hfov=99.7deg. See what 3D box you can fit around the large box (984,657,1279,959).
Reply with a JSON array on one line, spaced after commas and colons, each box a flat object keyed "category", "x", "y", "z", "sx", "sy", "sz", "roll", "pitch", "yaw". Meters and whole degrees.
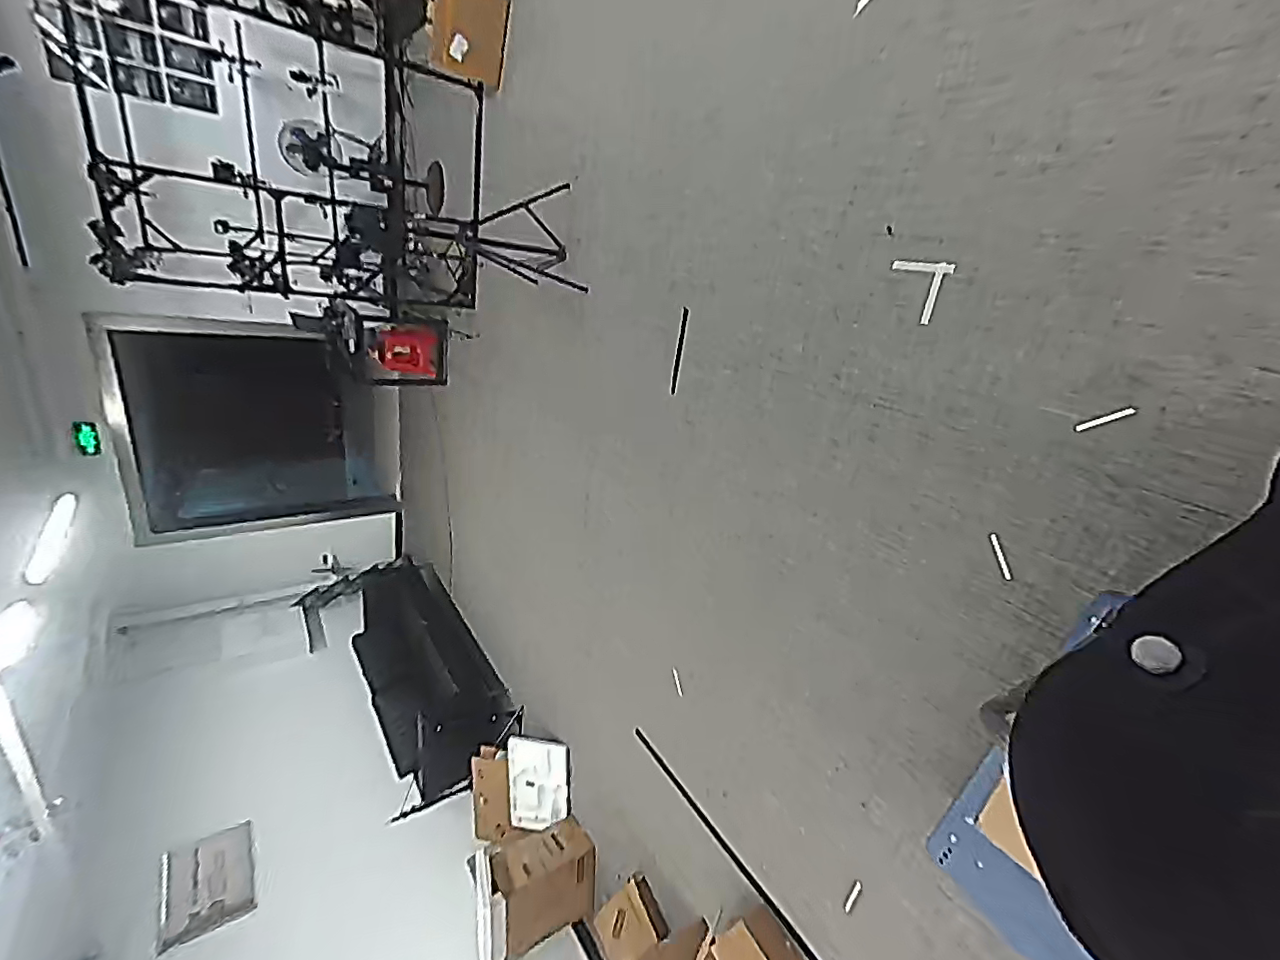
[{"category": "large box", "x": 0.913, "y": 0.580, "z": 0.921, "sx": 0.408, "sy": 0.320, "sz": 0.320, "roll": 35, "pitch": 122, "yaw": 48}]
